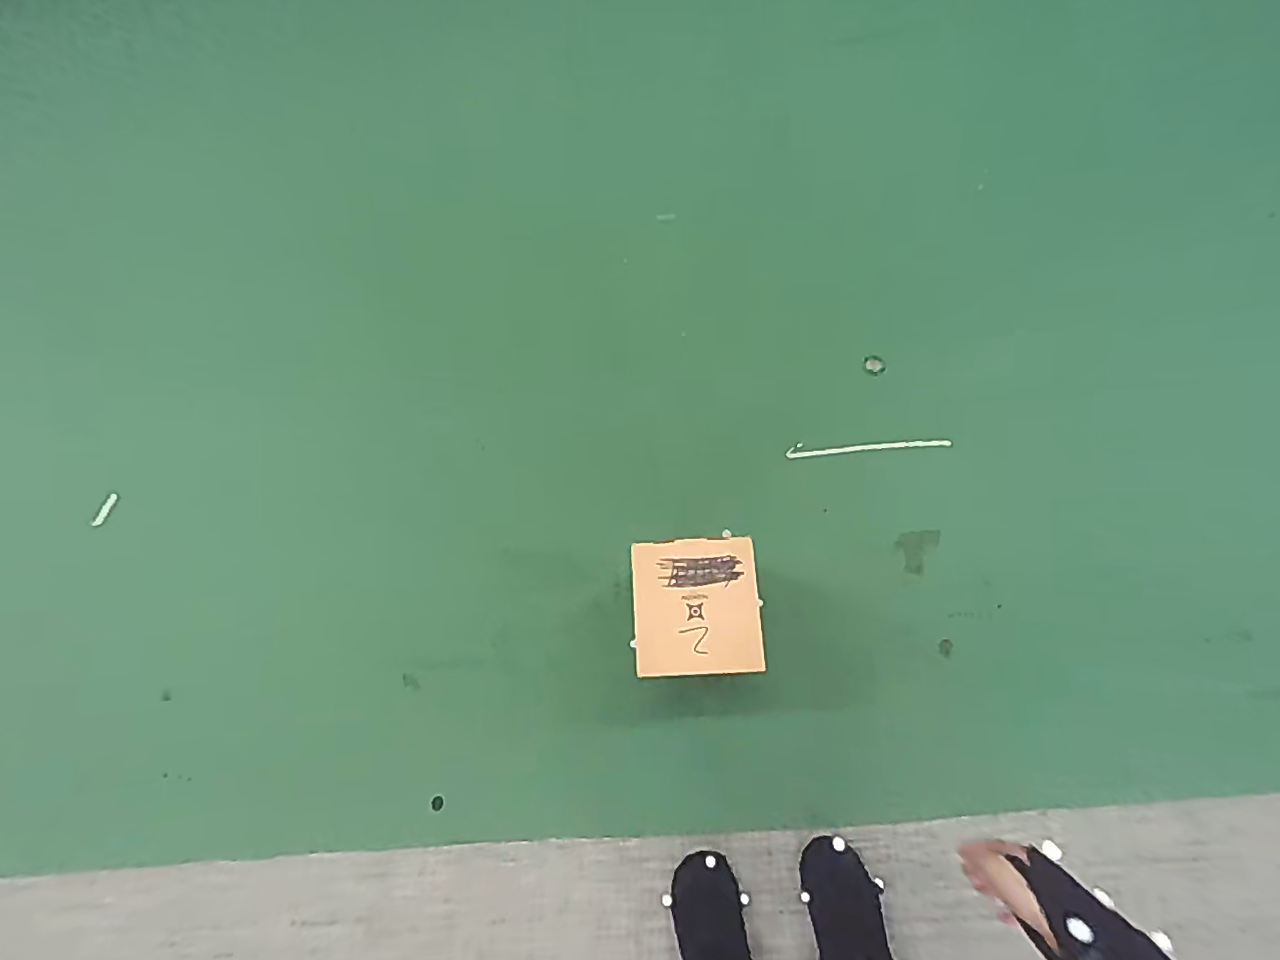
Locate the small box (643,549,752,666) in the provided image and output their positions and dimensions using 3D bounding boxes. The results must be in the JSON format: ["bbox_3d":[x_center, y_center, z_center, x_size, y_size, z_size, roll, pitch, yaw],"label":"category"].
[{"bbox_3d":[0.098,0.220,0.937,0.168,0.176,0.179,-5,75,5],"label":"small box"}]
